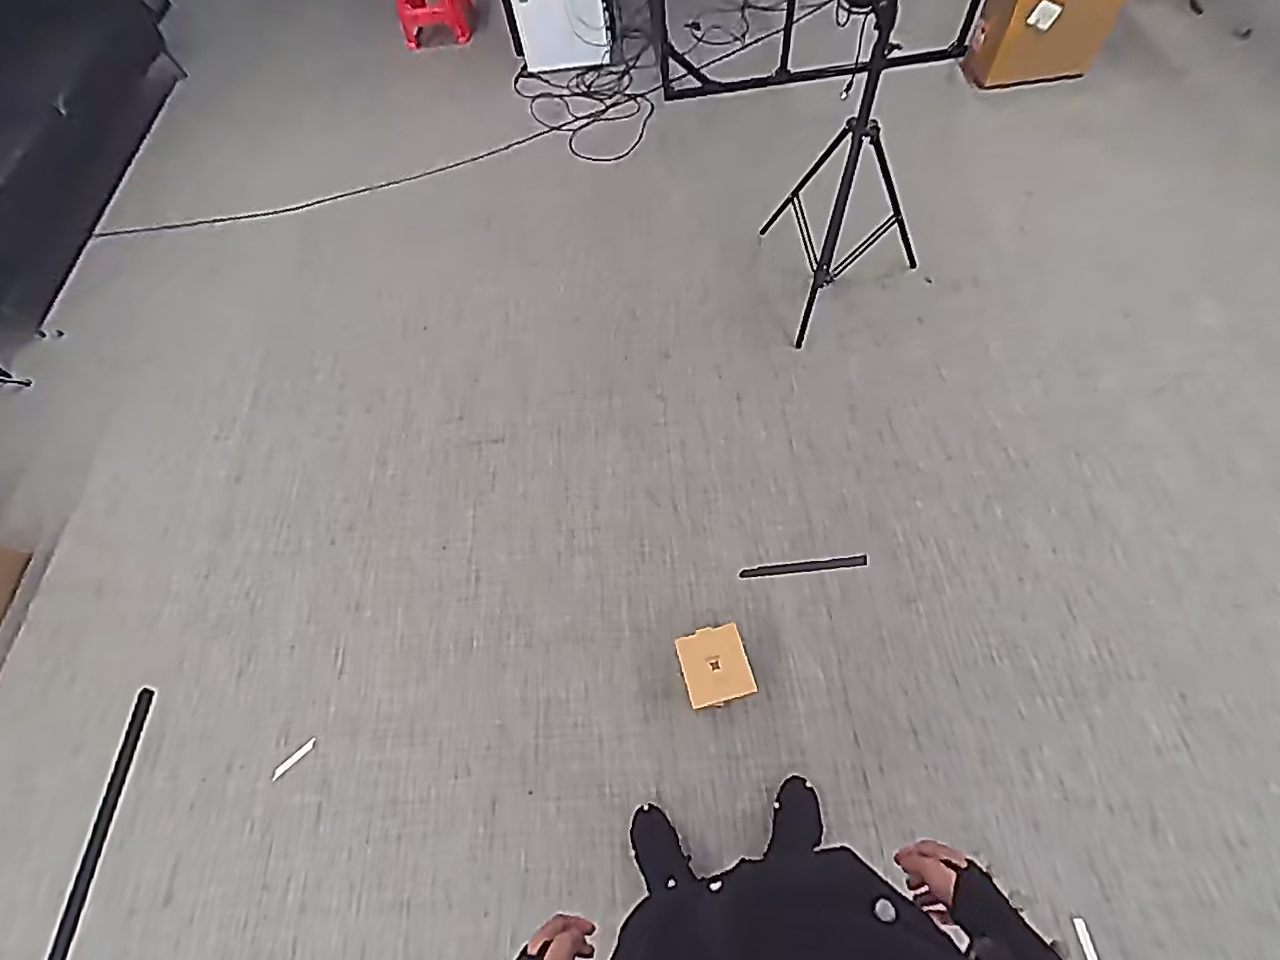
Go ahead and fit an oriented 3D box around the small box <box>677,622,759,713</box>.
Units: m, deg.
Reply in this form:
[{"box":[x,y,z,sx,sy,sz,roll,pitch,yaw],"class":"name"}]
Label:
[{"box":[0.198,0.493,1.408,0.168,0.176,0.179,-16,63,0],"class":"small box"}]
